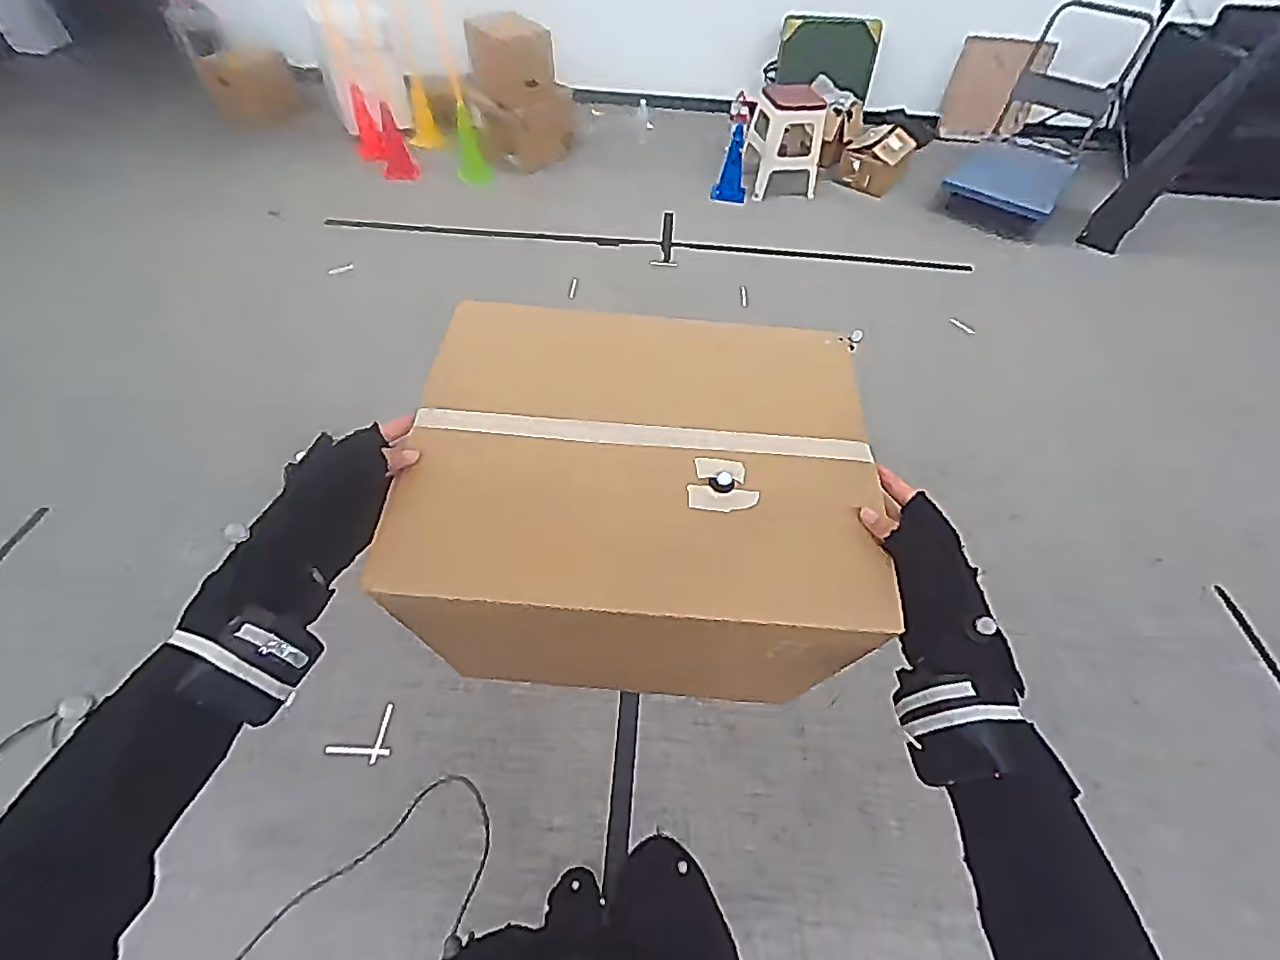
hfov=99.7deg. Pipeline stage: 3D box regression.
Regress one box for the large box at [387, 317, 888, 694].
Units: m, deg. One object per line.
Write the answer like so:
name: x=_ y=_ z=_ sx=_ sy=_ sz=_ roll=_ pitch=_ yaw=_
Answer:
large box: x=-0.002 y=0.047 z=0.624 sx=0.408 sy=0.320 sz=0.320 roll=5 pitch=59 yaw=-1
